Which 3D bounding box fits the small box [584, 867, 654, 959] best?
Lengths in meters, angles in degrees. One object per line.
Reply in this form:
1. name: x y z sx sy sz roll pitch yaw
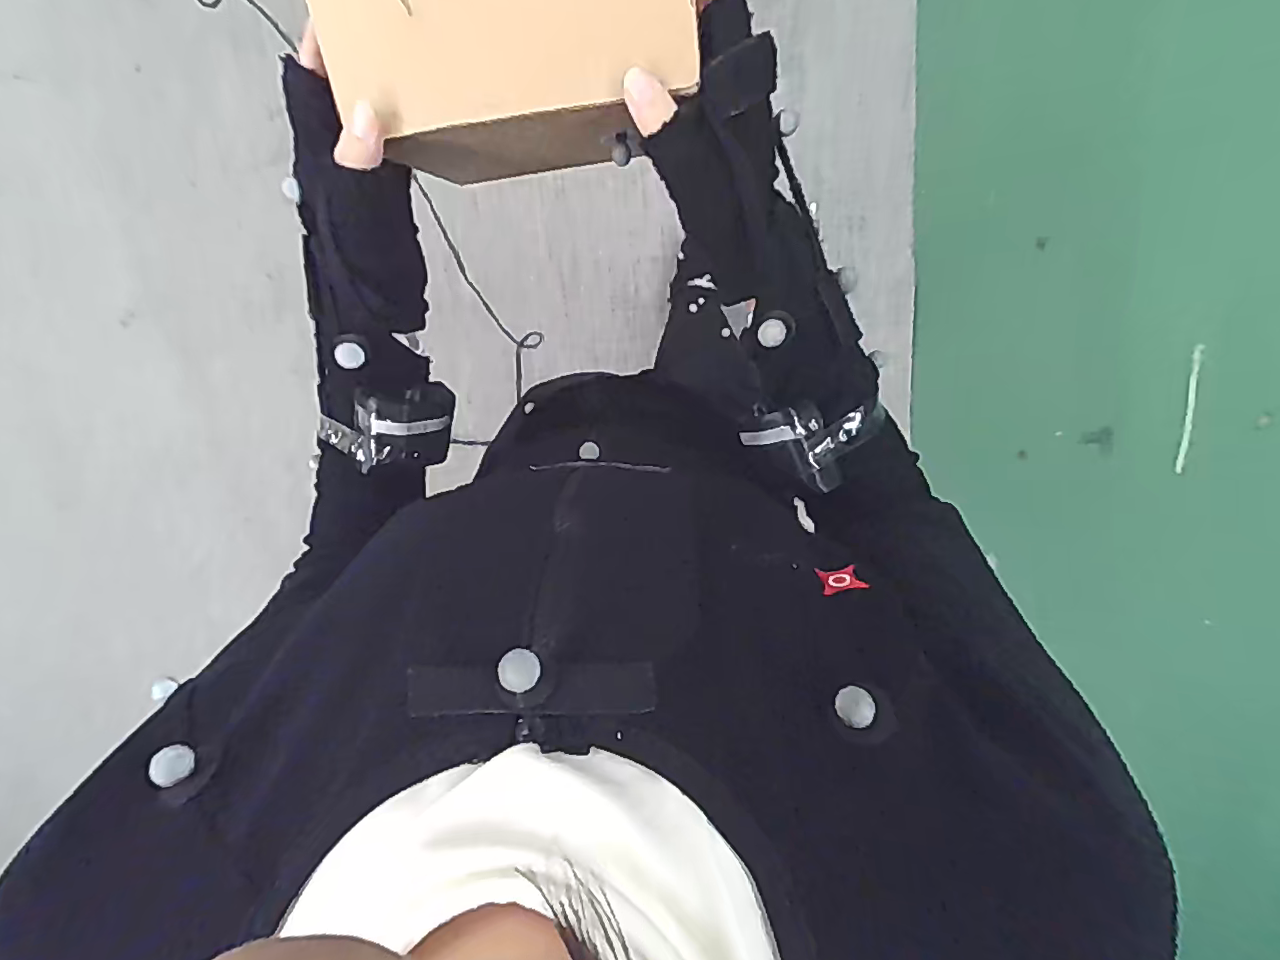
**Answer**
1. small box: -0.054 1.238 1.536 0.179 0.176 0.168 -3 105 4
